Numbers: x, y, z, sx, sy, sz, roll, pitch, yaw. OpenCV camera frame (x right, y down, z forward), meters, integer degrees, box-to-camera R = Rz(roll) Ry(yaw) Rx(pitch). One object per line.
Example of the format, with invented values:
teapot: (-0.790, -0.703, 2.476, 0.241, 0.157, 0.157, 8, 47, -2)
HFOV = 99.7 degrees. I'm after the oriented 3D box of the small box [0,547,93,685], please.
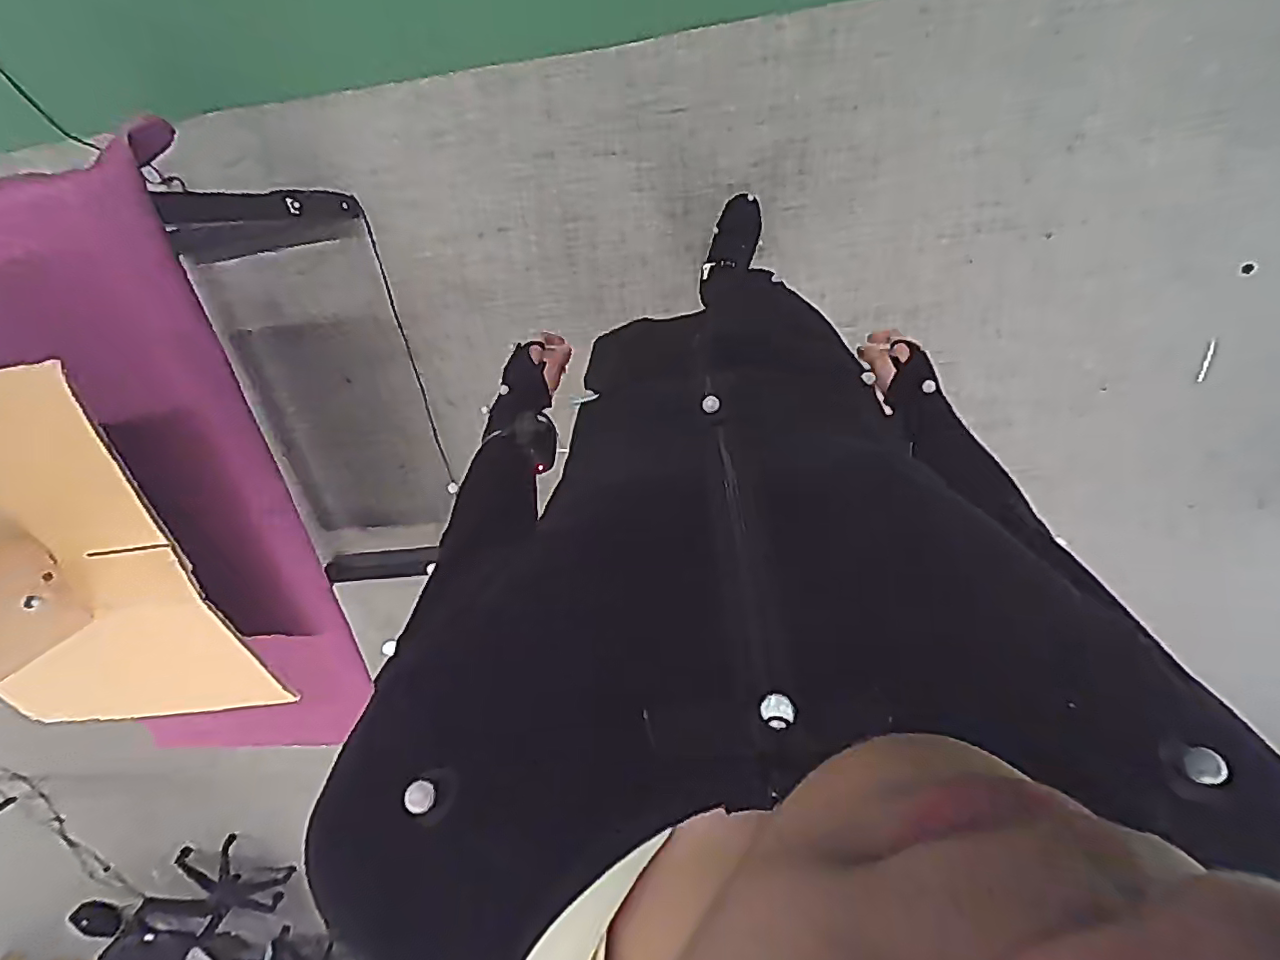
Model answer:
small box: (-1.031, 0.219, 0.833, 0.179, 0.176, 0.168, -6, 114, 8)
